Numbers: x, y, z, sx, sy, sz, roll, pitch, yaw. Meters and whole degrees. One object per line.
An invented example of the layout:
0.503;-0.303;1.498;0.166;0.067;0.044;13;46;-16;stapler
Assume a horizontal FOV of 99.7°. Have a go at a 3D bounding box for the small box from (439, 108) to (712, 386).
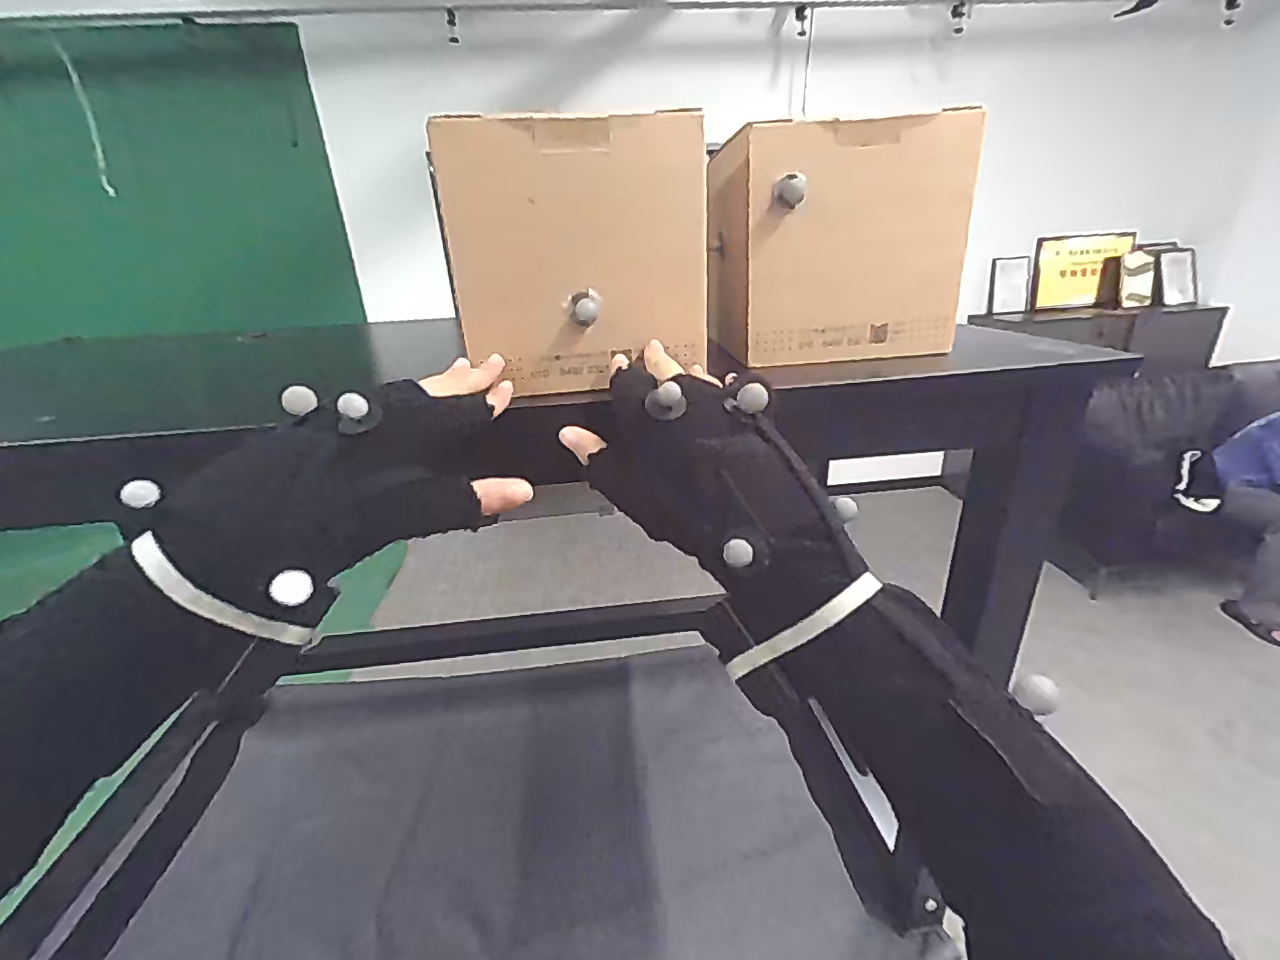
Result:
-0.045;-0.174;0.428;0.168;0.176;0.179;-6;23;-6;small box
